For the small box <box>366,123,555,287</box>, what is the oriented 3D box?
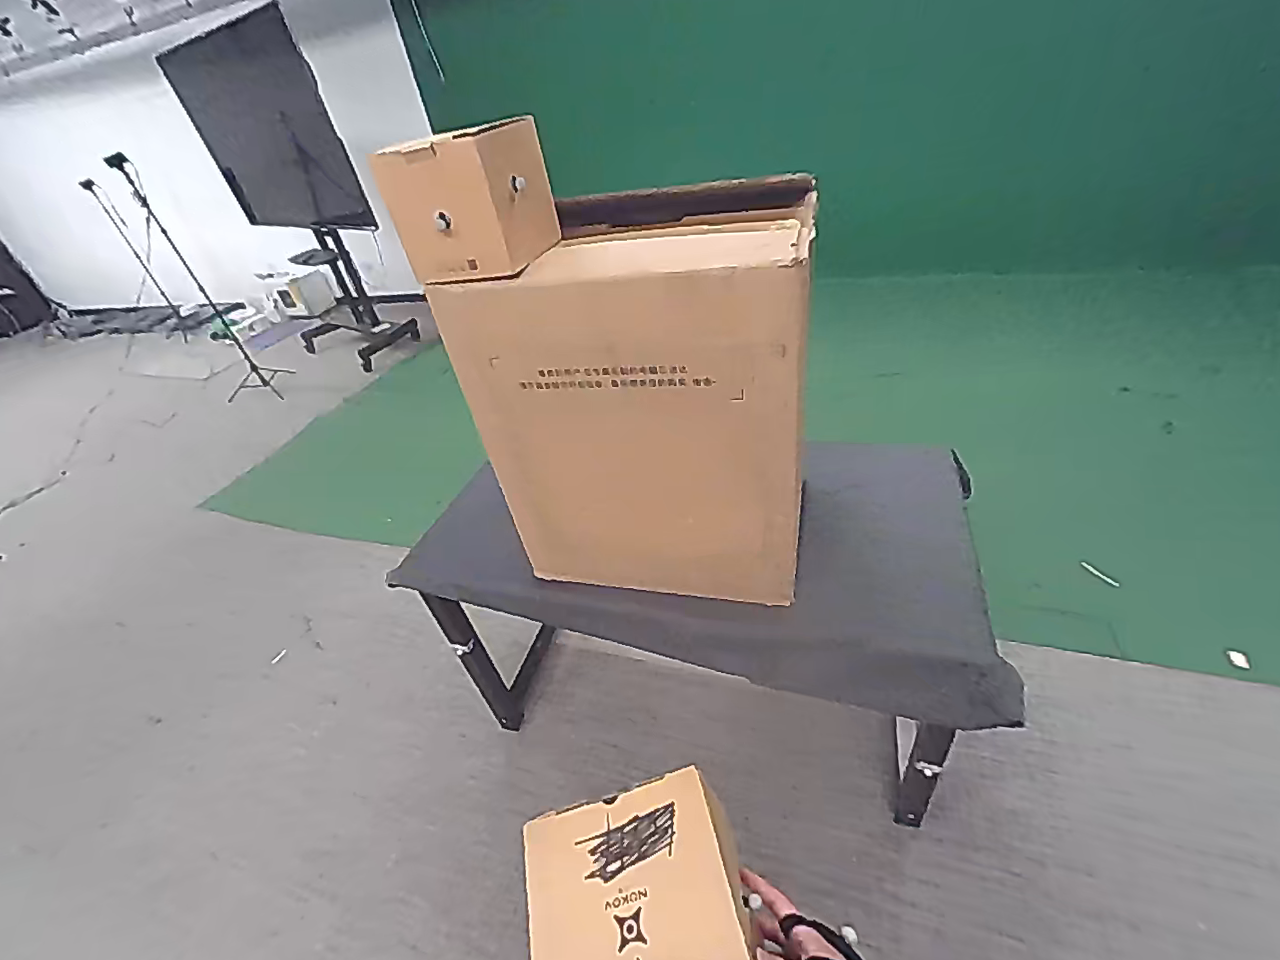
[{"bbox_3d":[-0.240,-0.386,0.776,0.168,0.176,0.179,2,40,19],"label":"small box"}]
